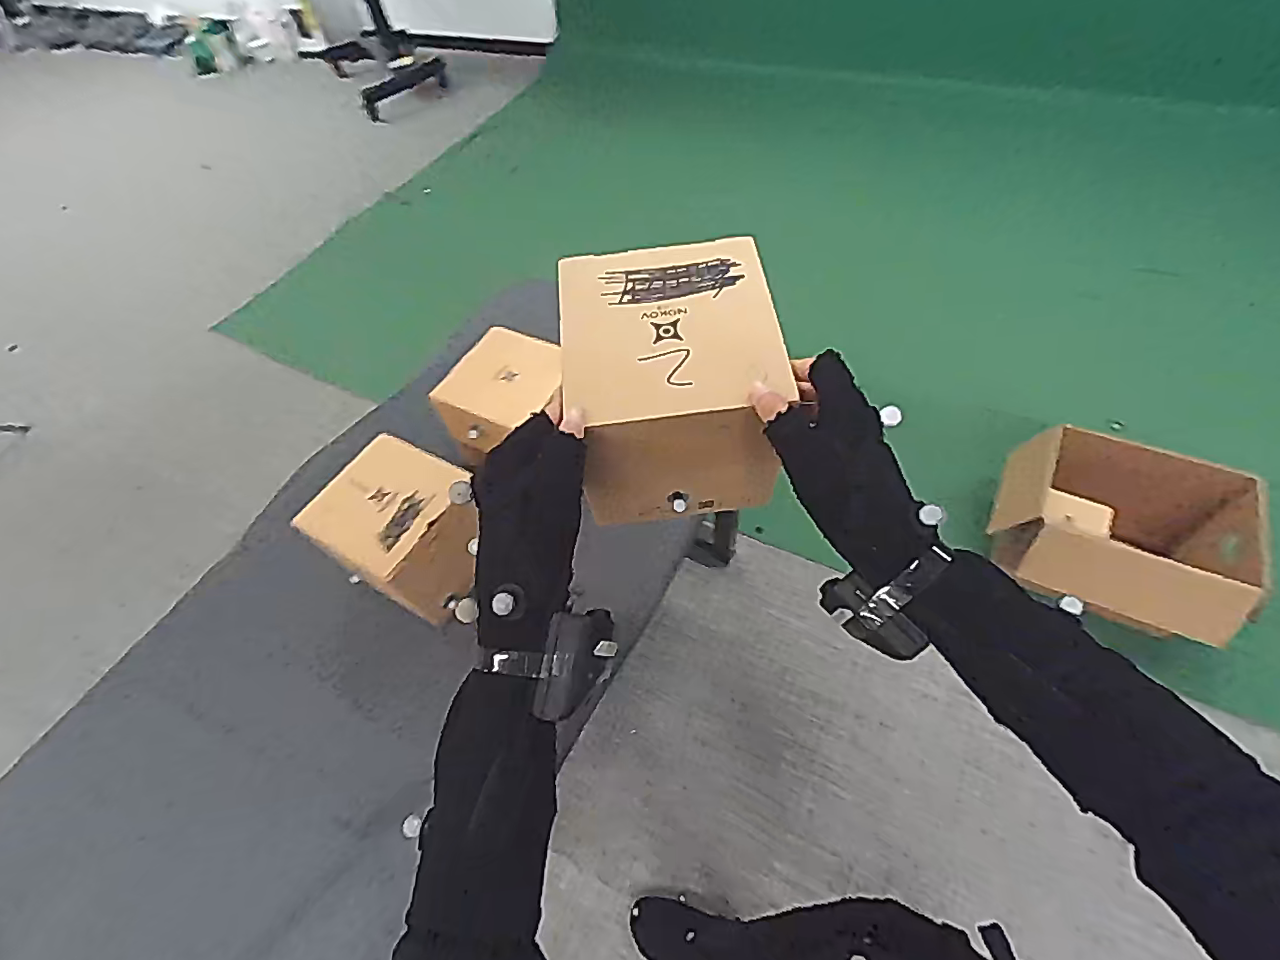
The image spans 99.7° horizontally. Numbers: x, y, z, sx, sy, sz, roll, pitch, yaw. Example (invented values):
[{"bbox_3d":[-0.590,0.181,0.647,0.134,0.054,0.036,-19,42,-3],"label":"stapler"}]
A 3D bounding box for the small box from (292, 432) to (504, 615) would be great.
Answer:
[{"bbox_3d":[-0.321,0.068,0.757,0.179,0.176,0.168,23,62,21],"label":"small box"}]

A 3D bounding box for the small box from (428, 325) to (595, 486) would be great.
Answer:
[{"bbox_3d":[-0.191,-0.113,0.865,0.179,0.176,0.168,21,62,20],"label":"small box"}]
